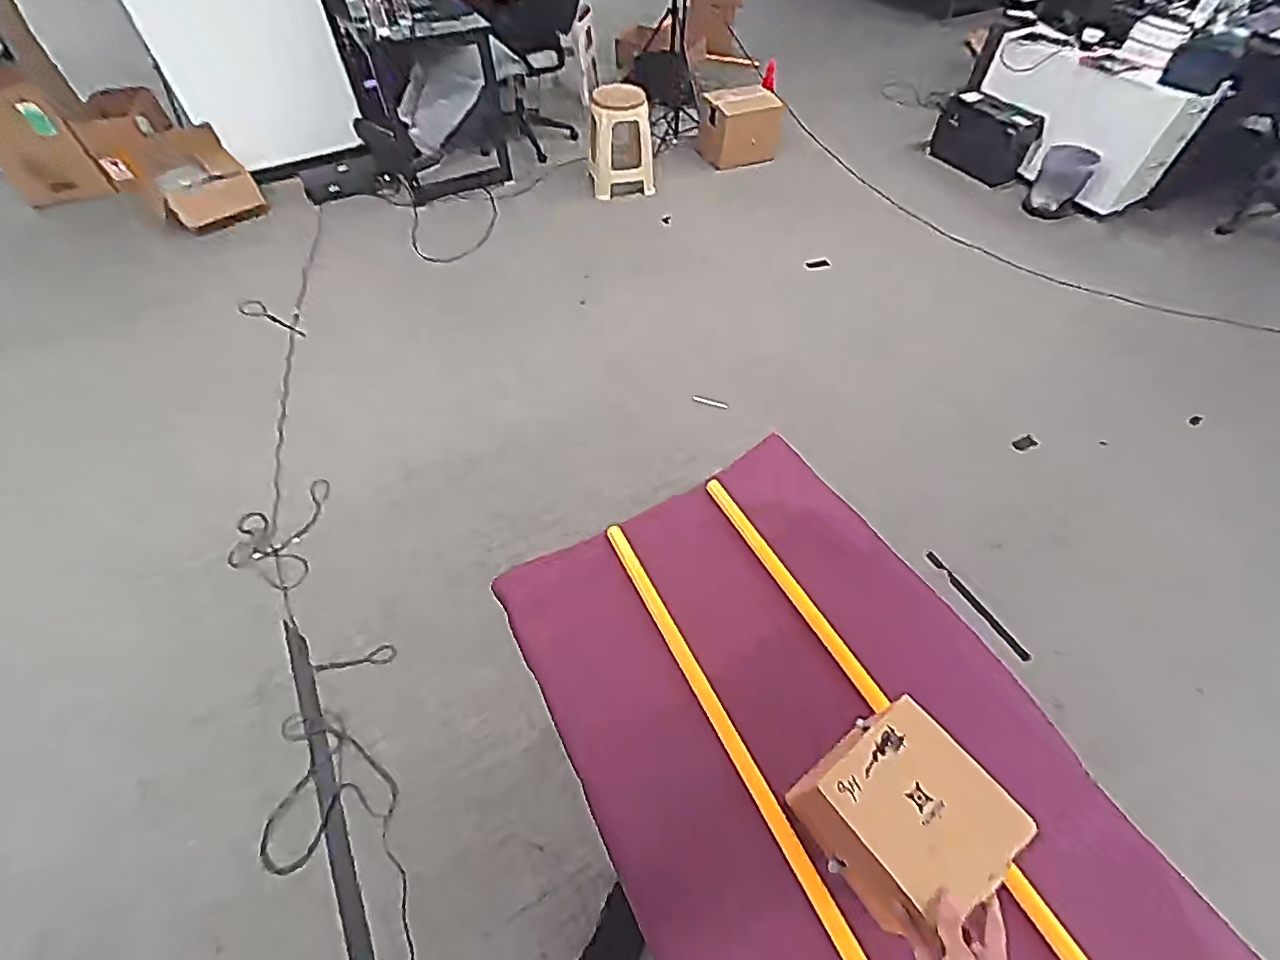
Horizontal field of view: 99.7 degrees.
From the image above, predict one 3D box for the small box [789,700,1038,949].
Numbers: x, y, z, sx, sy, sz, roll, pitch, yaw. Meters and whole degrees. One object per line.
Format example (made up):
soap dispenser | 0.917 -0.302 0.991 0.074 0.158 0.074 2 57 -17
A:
small box | 0.311 0.405 0.655 0.168 0.176 0.179 -30 61 -20
